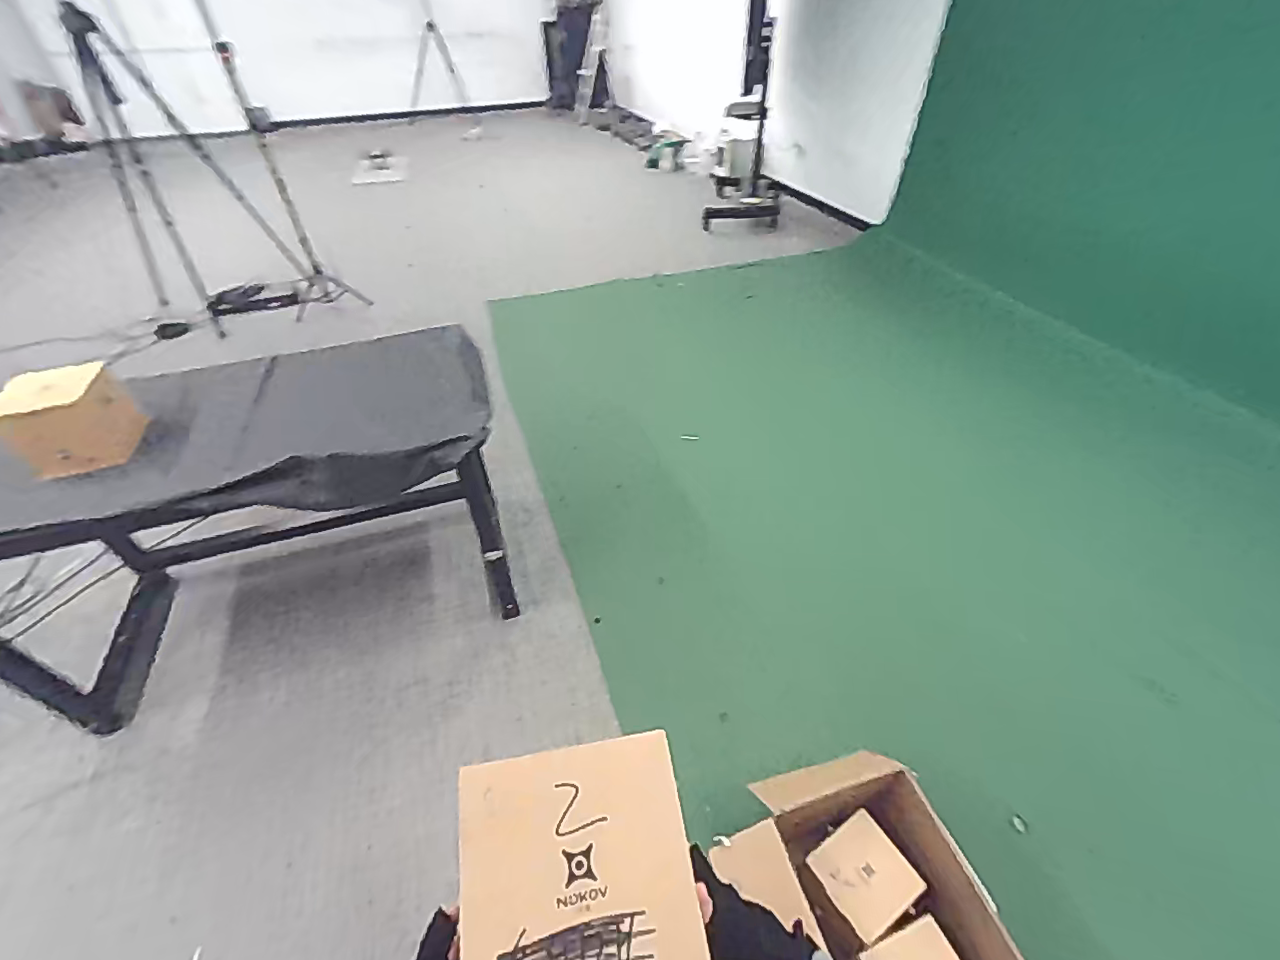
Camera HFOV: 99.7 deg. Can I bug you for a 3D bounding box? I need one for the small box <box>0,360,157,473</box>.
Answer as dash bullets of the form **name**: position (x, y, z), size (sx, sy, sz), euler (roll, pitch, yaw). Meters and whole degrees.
- **small box**: position (-1.241, -0.143, 1.215), size (0.168, 0.176, 0.179), euler (-15, 45, -15)
